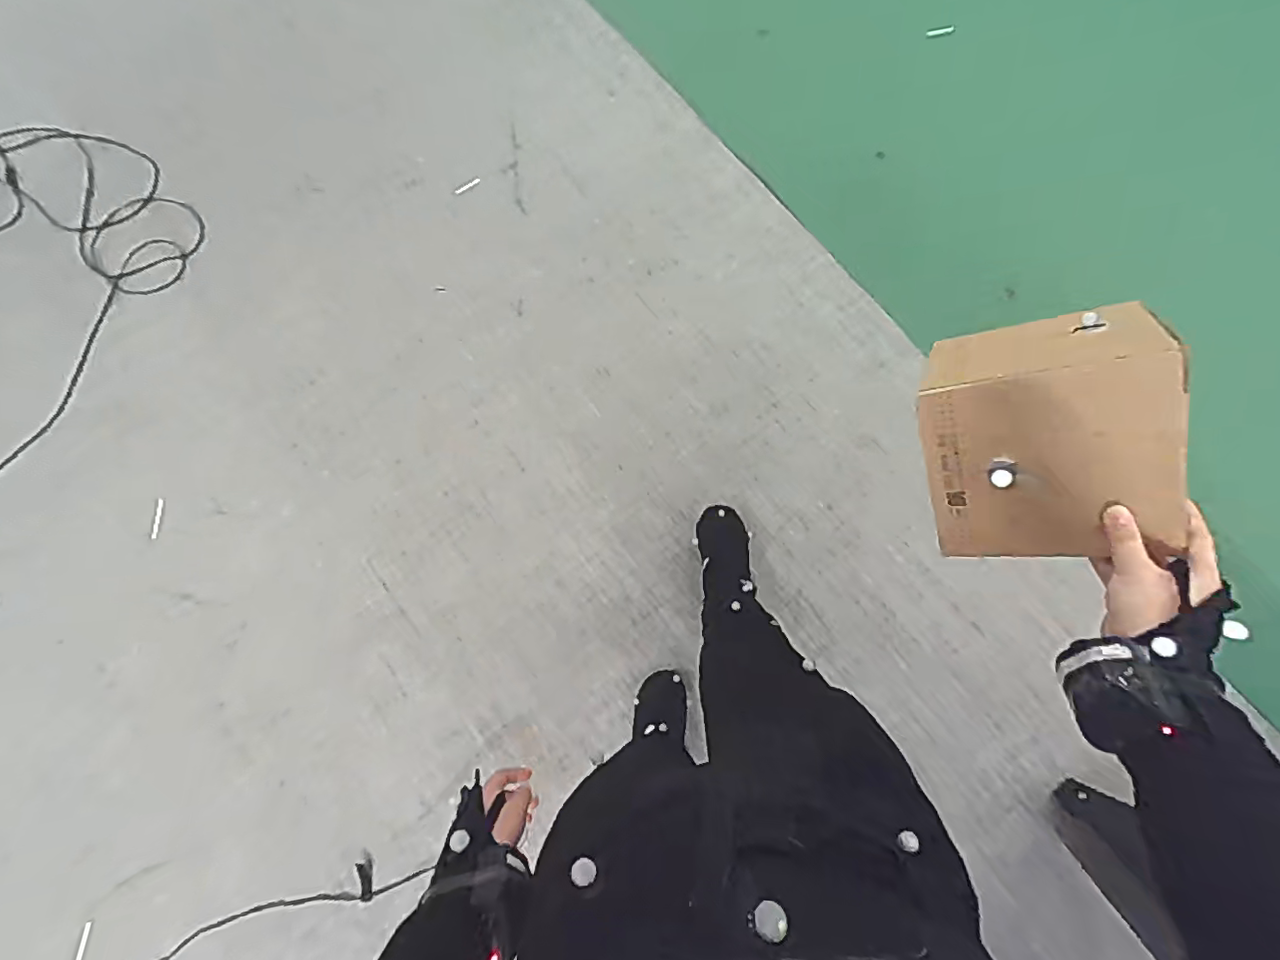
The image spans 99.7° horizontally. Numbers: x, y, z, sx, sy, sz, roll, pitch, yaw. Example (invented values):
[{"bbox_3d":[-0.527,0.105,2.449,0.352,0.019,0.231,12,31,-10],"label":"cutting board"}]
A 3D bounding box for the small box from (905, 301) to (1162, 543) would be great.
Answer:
[{"bbox_3d":[0.359,-0.053,0.510,0.176,0.179,0.168,-7,111,37],"label":"small box"}]
